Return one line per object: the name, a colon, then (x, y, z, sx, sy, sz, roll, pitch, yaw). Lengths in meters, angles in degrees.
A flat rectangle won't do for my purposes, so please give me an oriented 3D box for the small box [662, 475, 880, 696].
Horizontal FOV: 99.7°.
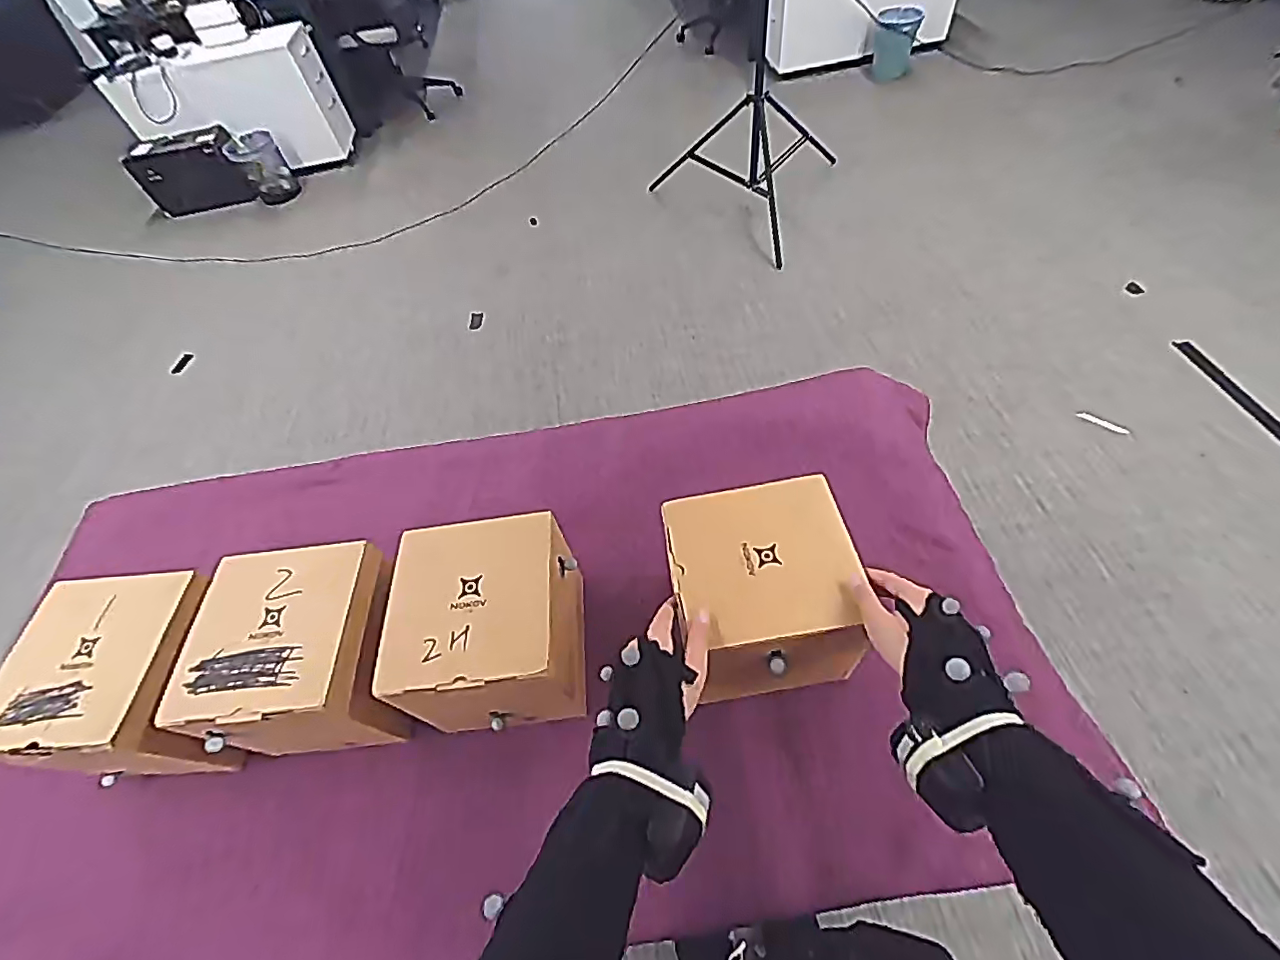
small box: (0.127, 0.120, 0.586, 0.179, 0.176, 0.168, -11, 53, 2)
